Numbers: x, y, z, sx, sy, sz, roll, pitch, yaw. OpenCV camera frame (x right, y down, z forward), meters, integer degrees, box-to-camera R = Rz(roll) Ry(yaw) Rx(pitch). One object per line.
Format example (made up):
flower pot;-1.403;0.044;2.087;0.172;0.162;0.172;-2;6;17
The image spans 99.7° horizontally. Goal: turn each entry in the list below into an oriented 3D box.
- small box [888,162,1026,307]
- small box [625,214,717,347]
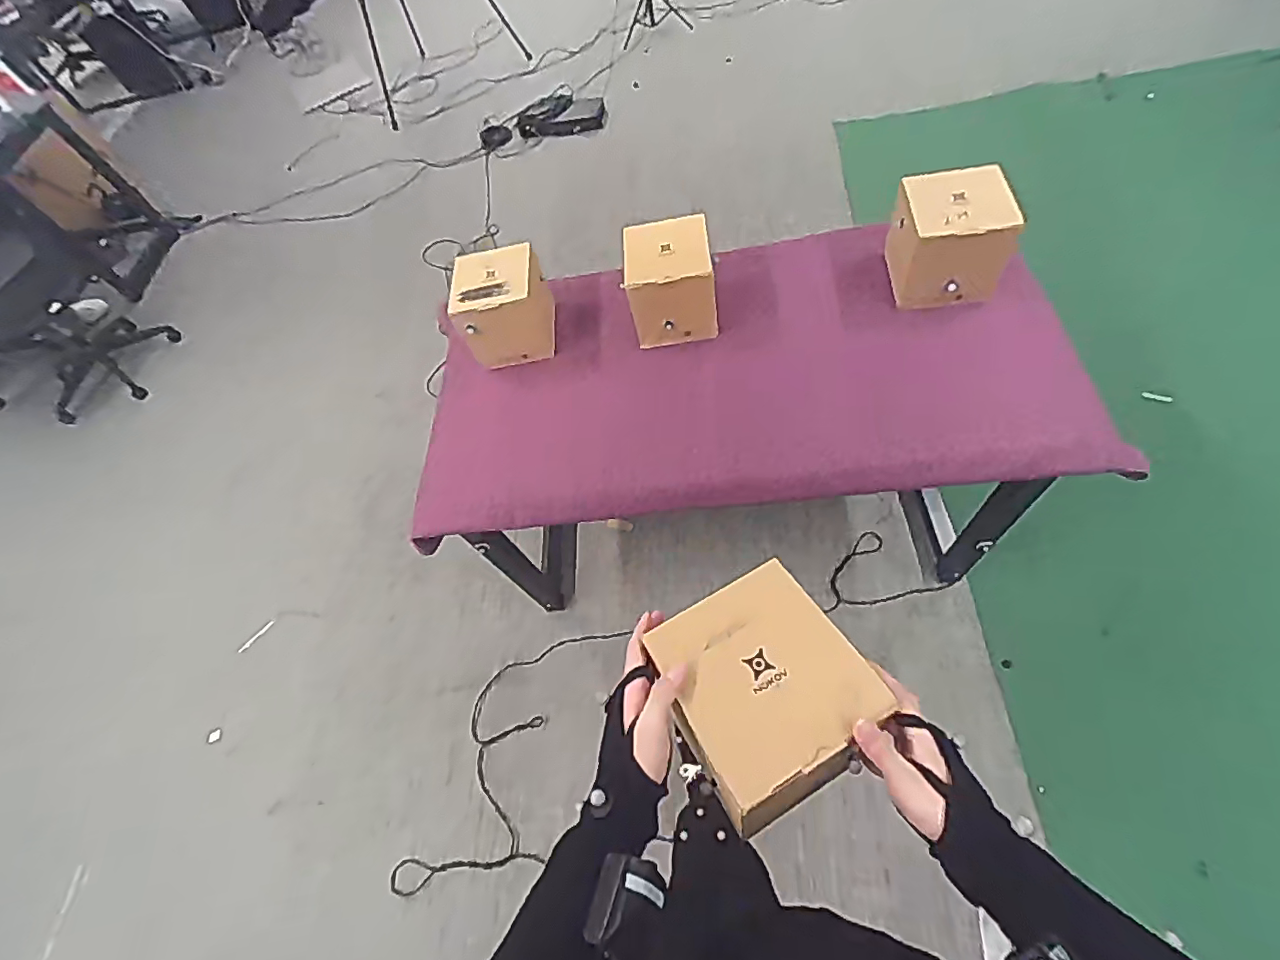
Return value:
small box;0.575;-0.452;1.009;0.168;0.176;0.179;-3;61;12
small box;0.064;-0.399;1.095;0.168;0.176;0.179;-7;61;8
